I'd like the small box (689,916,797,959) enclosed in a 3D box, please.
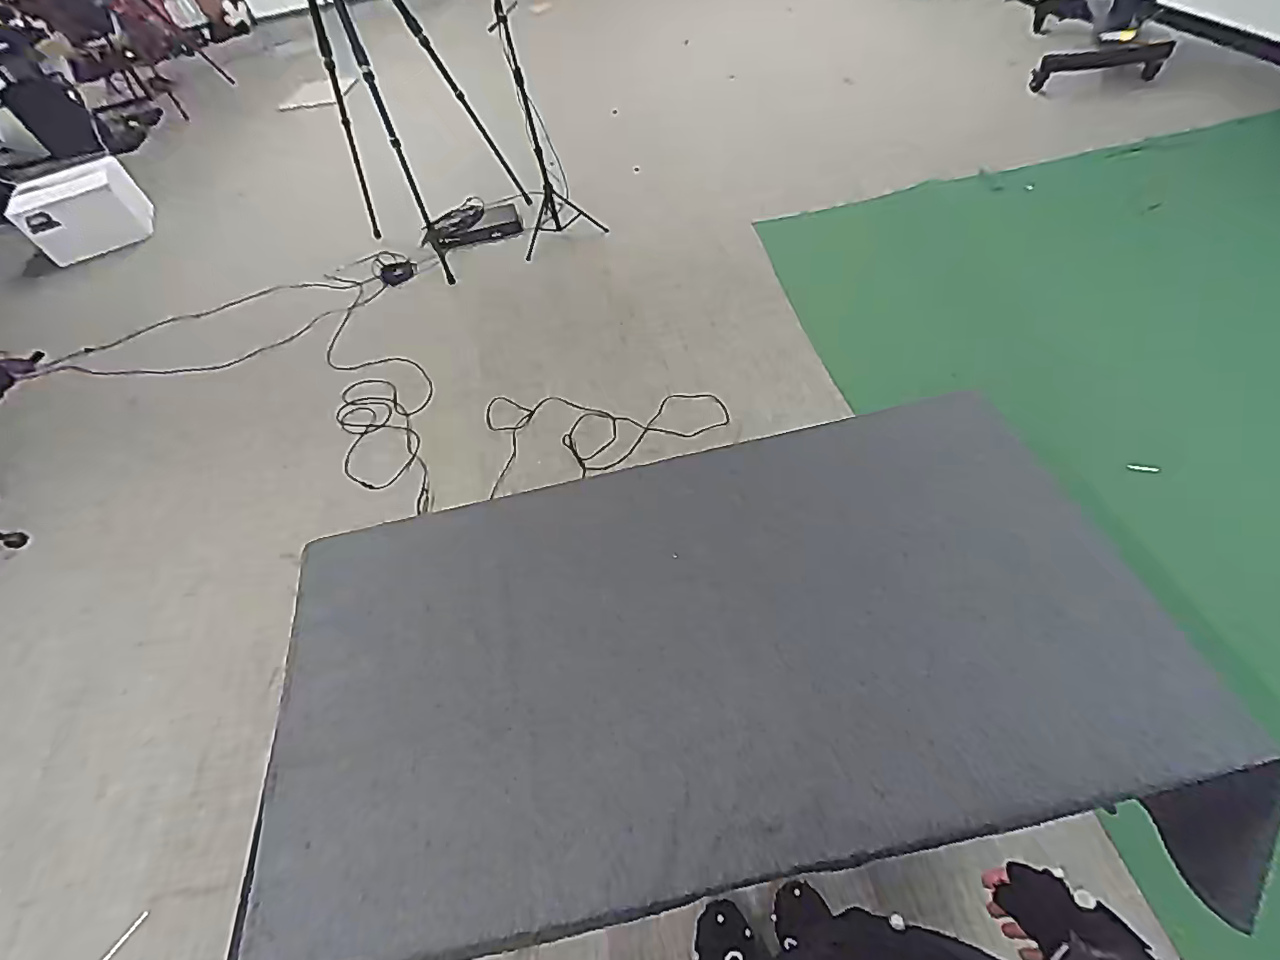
[{"bbox_3d":[0.186,0.968,1.021,0.179,0.176,0.168,8,65,36],"label":"small box"}]
